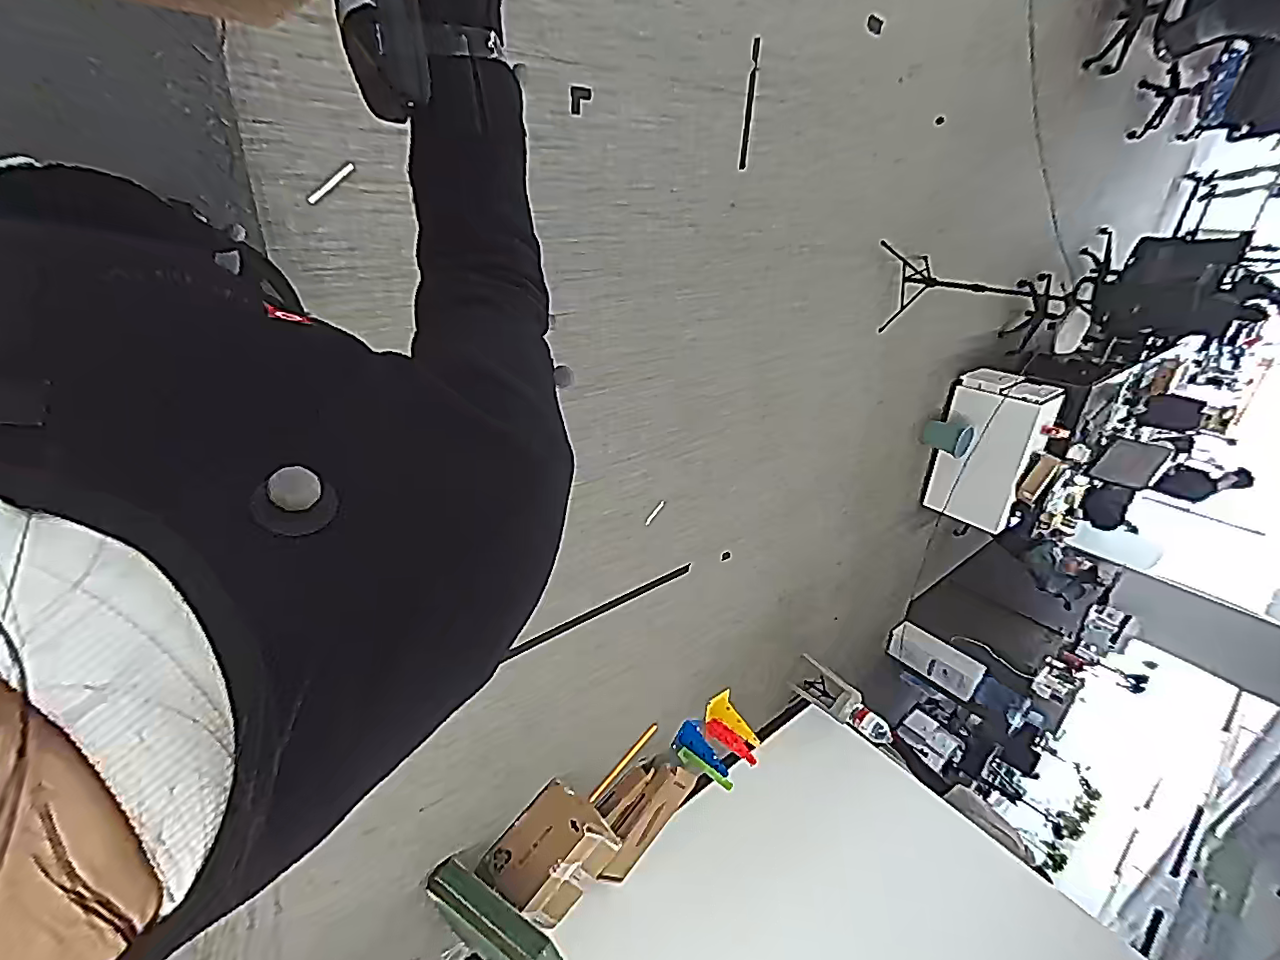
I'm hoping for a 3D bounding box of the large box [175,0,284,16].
[{"bbox_3d":[-0.383,-0.428,0.202,0.408,0.320,0.320,-18,128,-35],"label":"large box"}]
